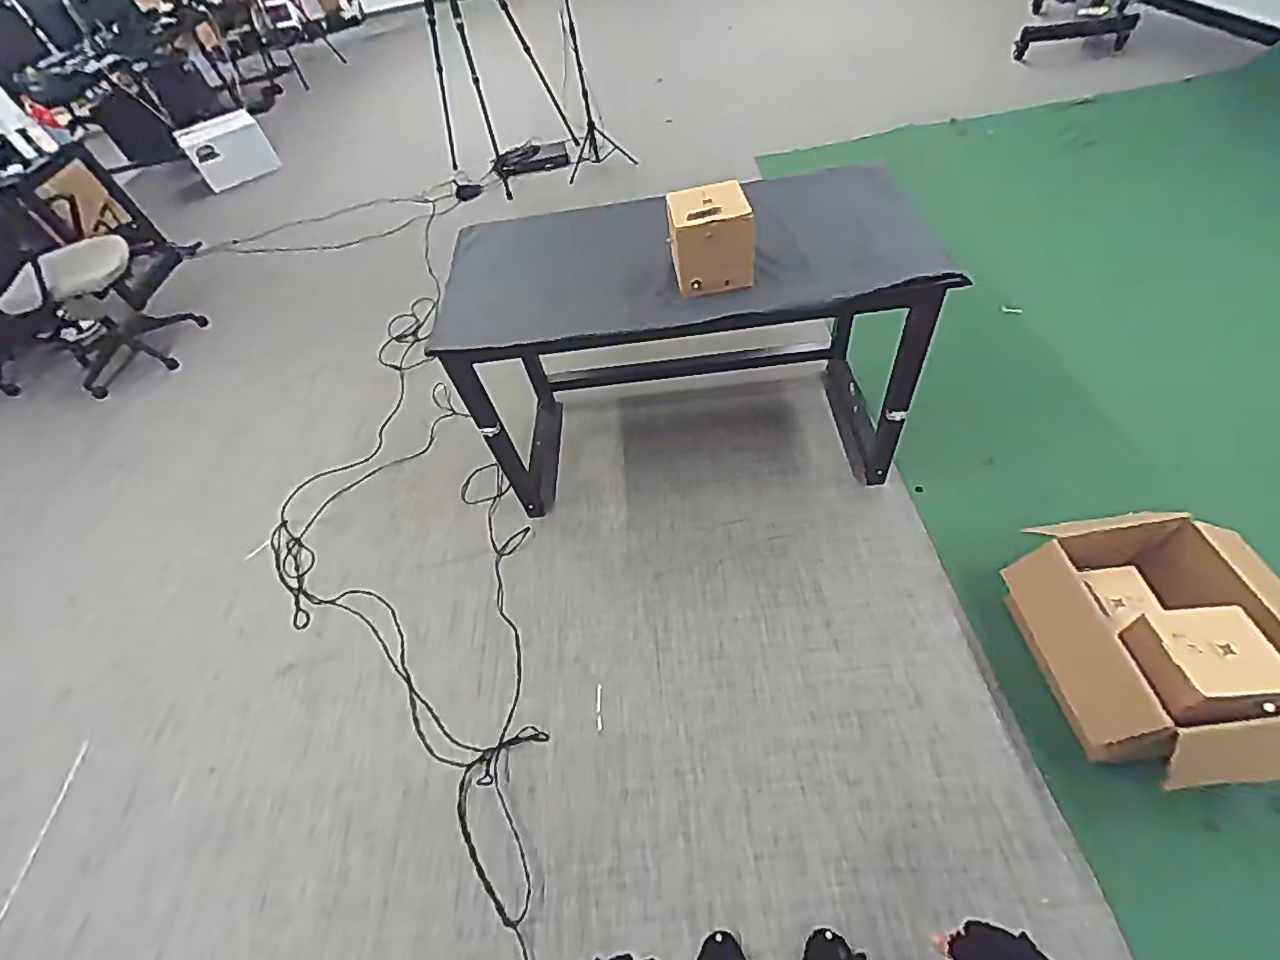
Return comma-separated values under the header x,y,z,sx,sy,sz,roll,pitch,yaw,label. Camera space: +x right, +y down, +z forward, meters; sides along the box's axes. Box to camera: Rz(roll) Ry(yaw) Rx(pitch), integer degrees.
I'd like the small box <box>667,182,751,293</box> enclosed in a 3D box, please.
x,y,z,sx,sy,sz,roll,pitch,yaw,label
0.160,-0.548,1.242,0.168,0.176,0.179,-9,50,4,small box
